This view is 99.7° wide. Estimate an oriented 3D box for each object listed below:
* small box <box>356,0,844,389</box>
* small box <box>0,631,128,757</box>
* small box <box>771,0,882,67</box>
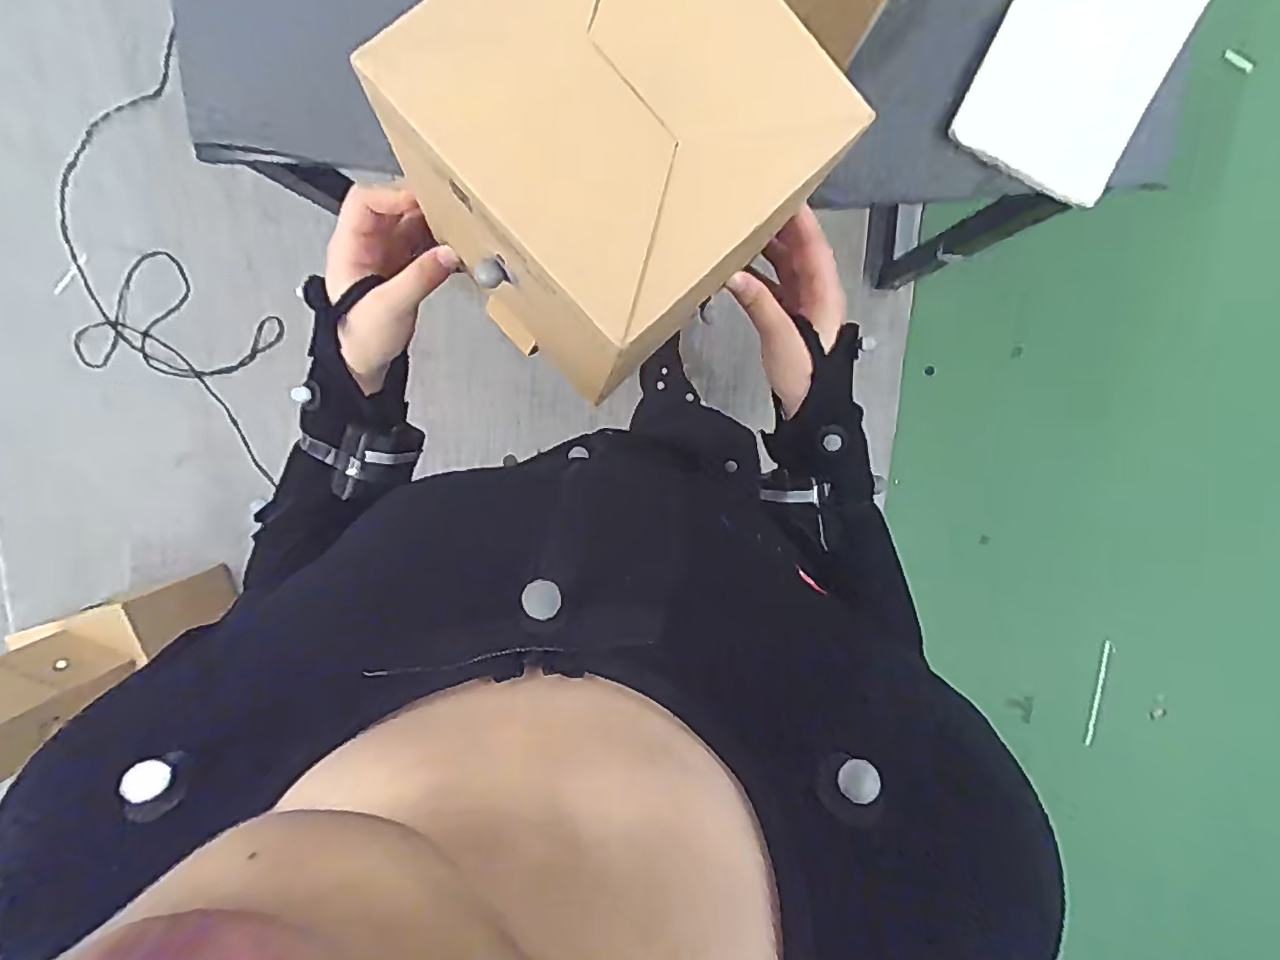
[{"bbox_3d":[-0.020,-0.181,0.319,0.179,0.176,0.168,-45,95,-7],"label":"small box"},{"bbox_3d":[-1.301,0.461,1.192,0.179,0.176,0.168,24,99,-5],"label":"small box"},{"bbox_3d":[0.193,-0.569,0.552,0.179,0.176,0.168,32,98,-2],"label":"small box"}]
